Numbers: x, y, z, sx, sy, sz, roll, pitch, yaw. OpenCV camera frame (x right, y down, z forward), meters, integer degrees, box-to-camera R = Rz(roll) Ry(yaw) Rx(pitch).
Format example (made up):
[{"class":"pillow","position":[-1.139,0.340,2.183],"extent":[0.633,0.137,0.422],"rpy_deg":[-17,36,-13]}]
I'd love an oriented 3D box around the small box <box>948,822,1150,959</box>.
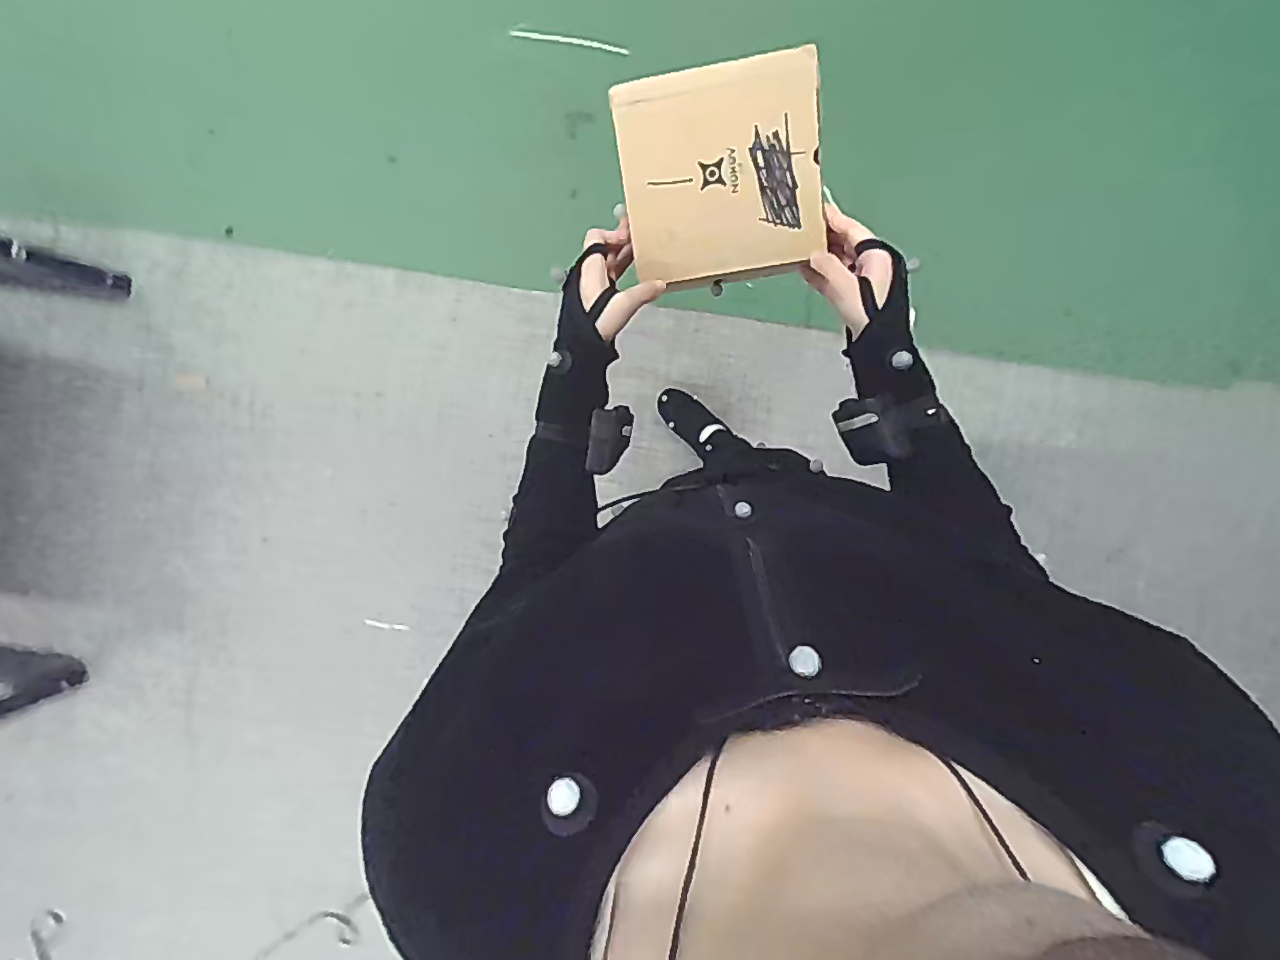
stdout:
[{"class":"small box","position":[0.647,0.696,0.876],"extent":[0.179,0.176,0.168],"rpy_deg":[13,93,0]}]

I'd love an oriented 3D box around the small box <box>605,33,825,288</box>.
[{"class":"small box","position":[0.071,-0.295,0.541],"extent":[0.179,0.176,0.168],"rpy_deg":[-8,104,6]}]
